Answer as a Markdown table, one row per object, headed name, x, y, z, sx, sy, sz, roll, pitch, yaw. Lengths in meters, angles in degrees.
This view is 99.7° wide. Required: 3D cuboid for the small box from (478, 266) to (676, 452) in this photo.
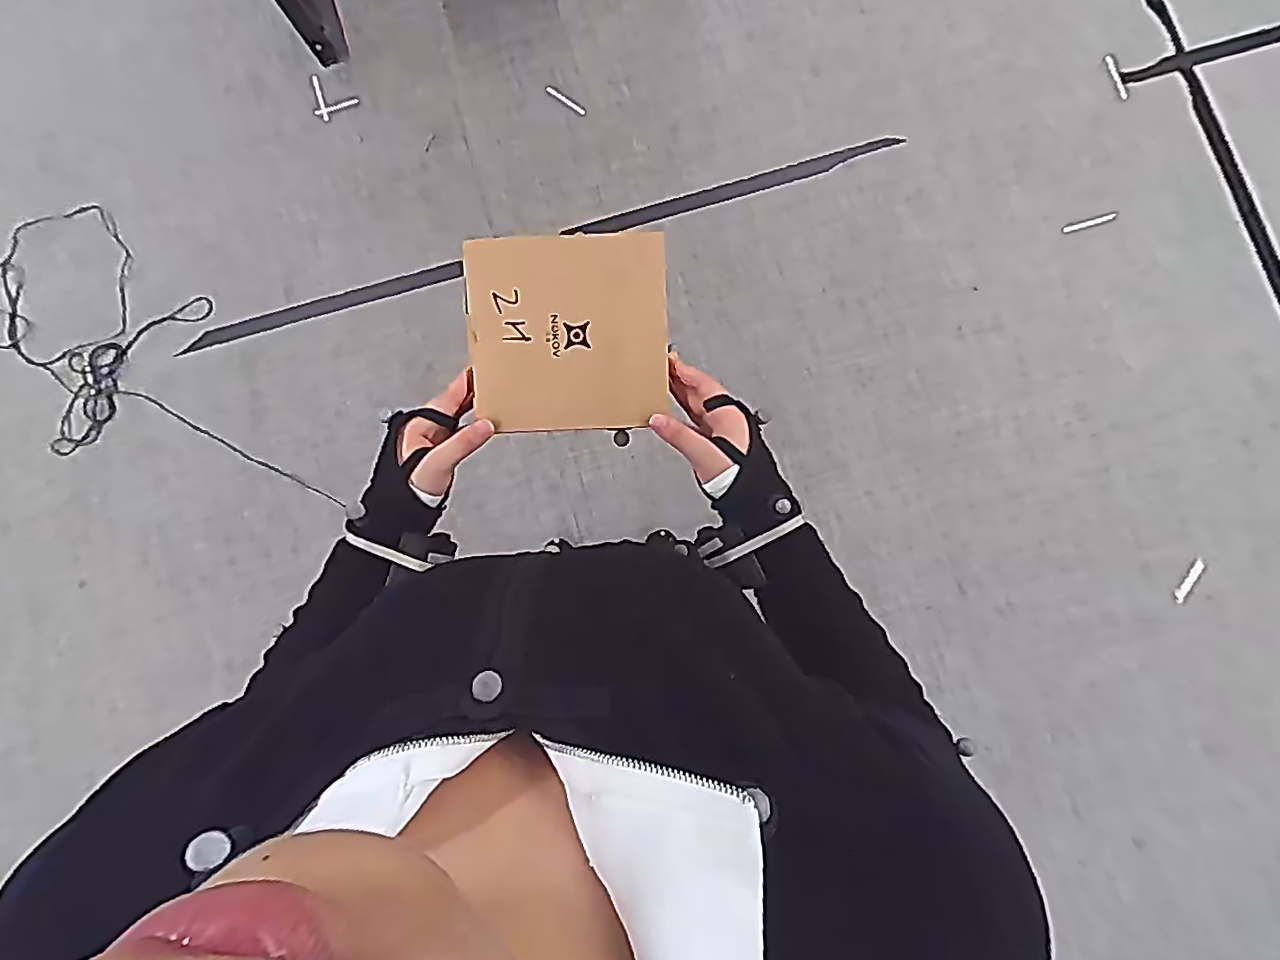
| name | x | y | z | sx | sy | sz | roll | pitch | yaw |
| --- | --- | --- | --- | --- | --- | --- | --- | --- | --- |
| small box | -0.056 | -0.117 | 0.566 | 0.179 | 0.176 | 0.168 | -1 | 96 | 1 |
